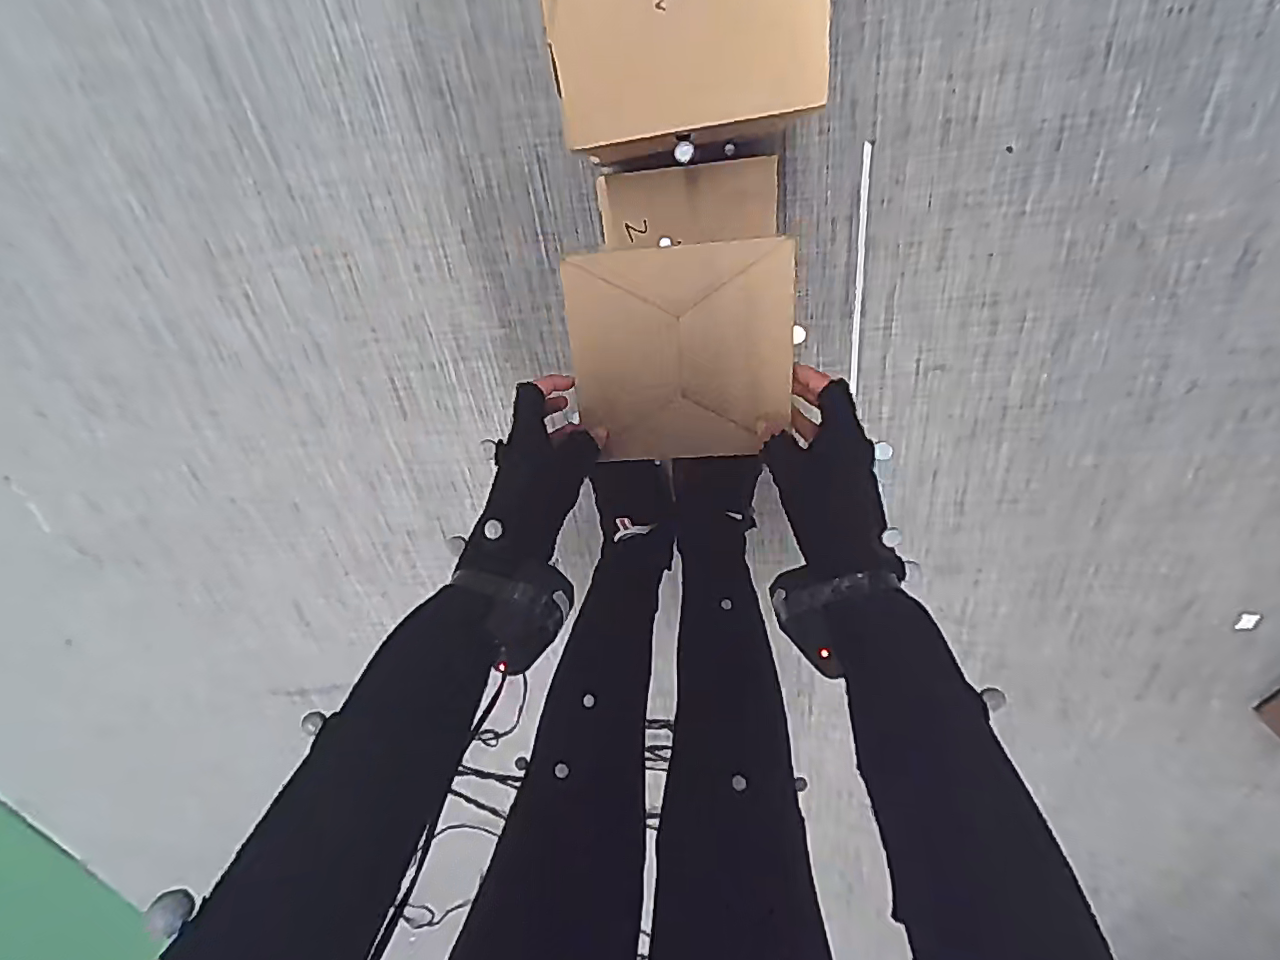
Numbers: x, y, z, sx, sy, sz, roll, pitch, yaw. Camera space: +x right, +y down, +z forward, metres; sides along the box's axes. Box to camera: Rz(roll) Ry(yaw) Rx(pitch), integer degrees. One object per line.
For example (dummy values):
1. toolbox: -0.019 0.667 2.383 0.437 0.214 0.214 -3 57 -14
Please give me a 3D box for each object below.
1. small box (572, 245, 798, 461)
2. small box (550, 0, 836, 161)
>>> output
1. small box: 0.043 -0.121 0.503 0.179 0.176 0.168 -2 111 7
2. small box: 0.036 -0.342 0.397 0.179 0.176 0.168 -4 119 9
